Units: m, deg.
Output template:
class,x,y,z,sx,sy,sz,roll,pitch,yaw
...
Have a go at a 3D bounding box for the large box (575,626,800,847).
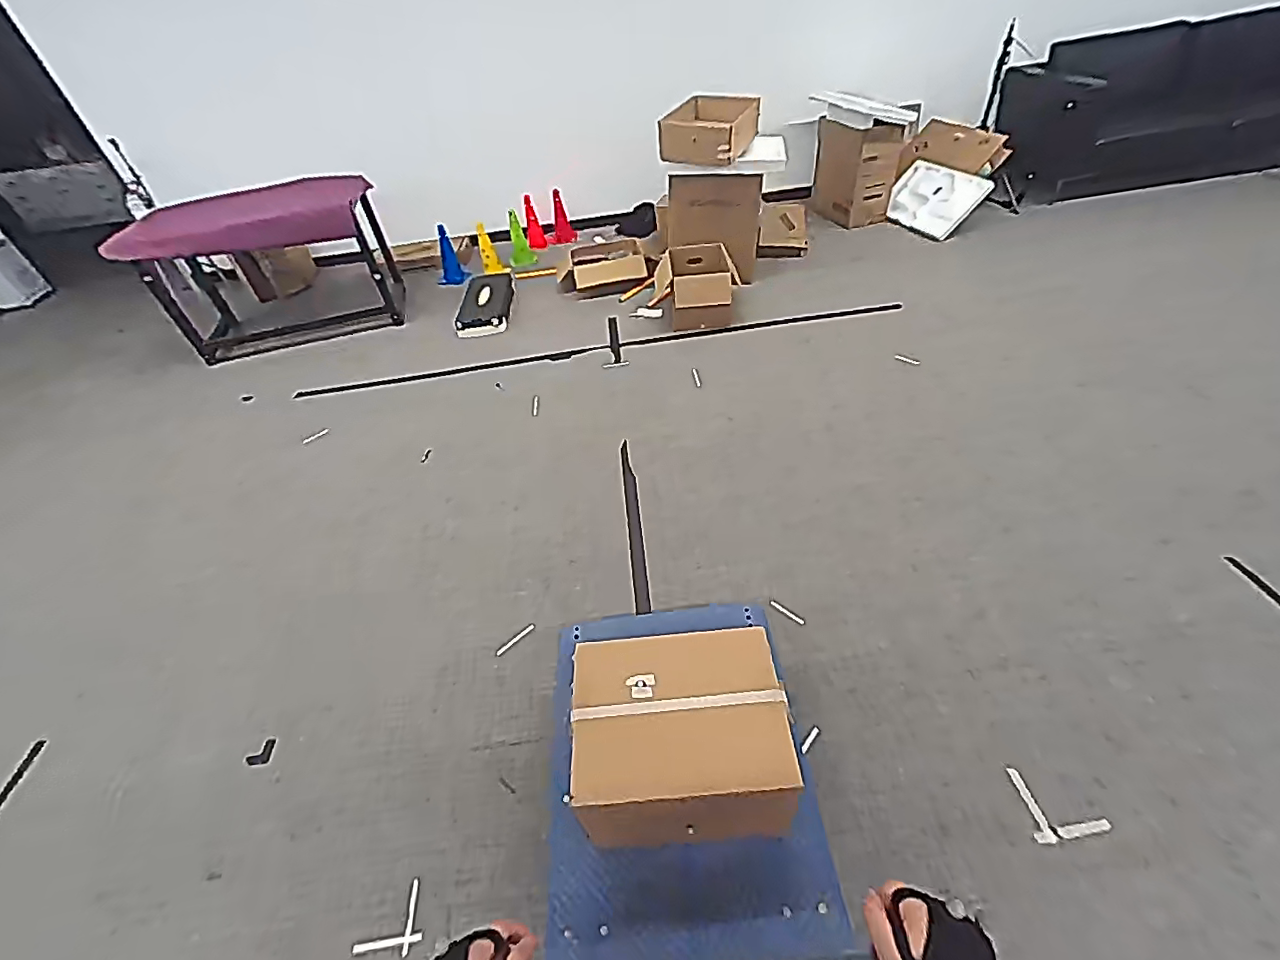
class,x,y,z,sx,sy,sz,roll,pitch,yaw
large box,0.089,0.549,1.151,0.408,0.320,0.320,-7,42,2
